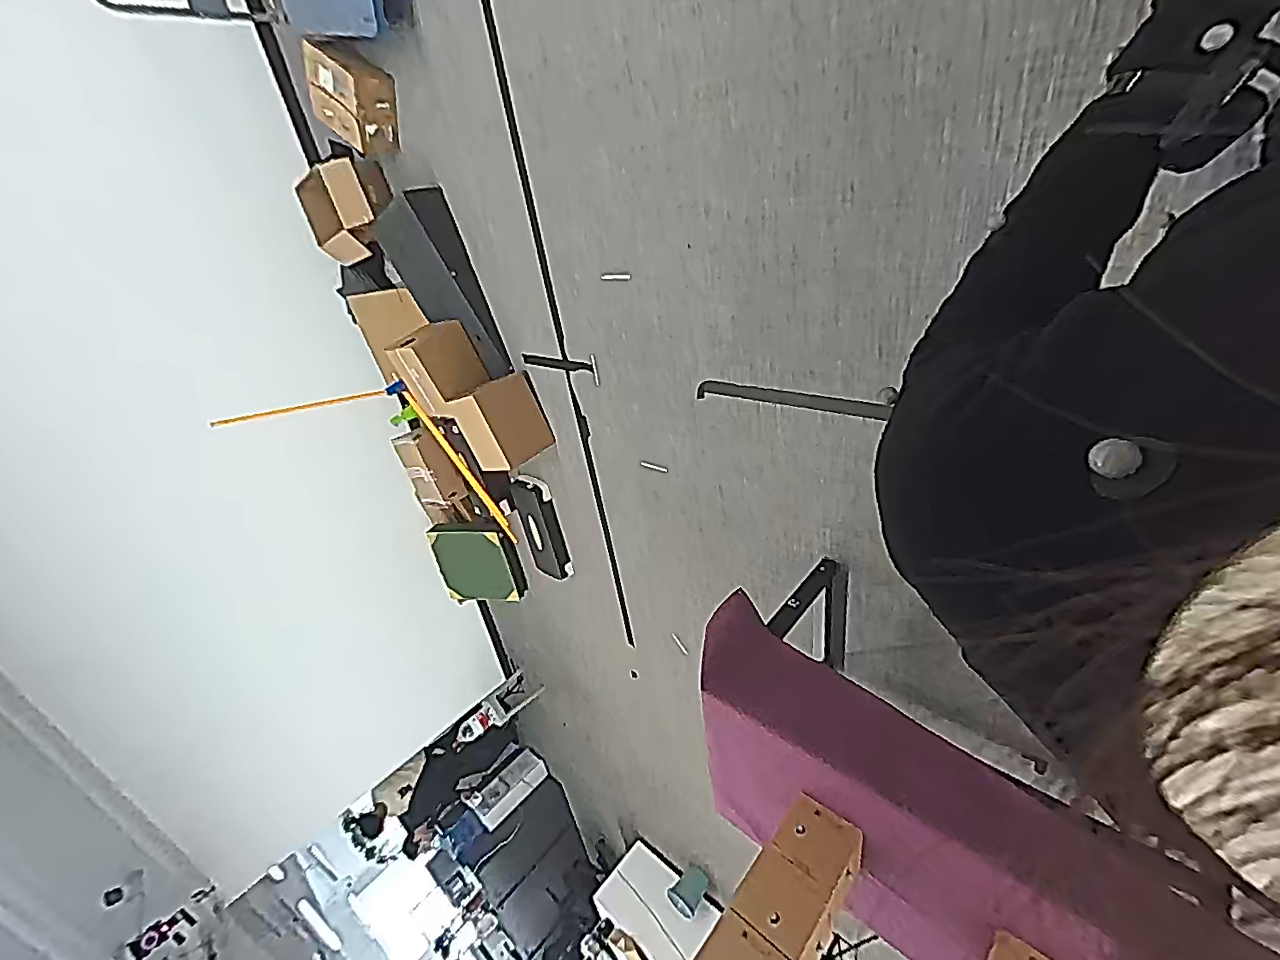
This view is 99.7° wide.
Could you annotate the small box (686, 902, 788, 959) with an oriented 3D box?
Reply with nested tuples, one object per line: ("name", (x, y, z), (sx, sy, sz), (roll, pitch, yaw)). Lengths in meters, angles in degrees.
("small box", (0.210, 1.068, 1.155), (0.168, 0.176, 0.179), (18, 129, 40))

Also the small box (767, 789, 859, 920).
("small box", (0.432, 0.921, 1.346), (0.168, 0.176, 0.179), (18, 130, 40))

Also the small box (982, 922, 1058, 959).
("small box", (0.764, 1.047, 1.071), (0.168, 0.176, 0.179), (17, 128, 41))

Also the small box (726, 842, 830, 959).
("small box", (0.322, 0.992, 1.246), (0.179, 0.176, 0.168), (17, 128, 41))
